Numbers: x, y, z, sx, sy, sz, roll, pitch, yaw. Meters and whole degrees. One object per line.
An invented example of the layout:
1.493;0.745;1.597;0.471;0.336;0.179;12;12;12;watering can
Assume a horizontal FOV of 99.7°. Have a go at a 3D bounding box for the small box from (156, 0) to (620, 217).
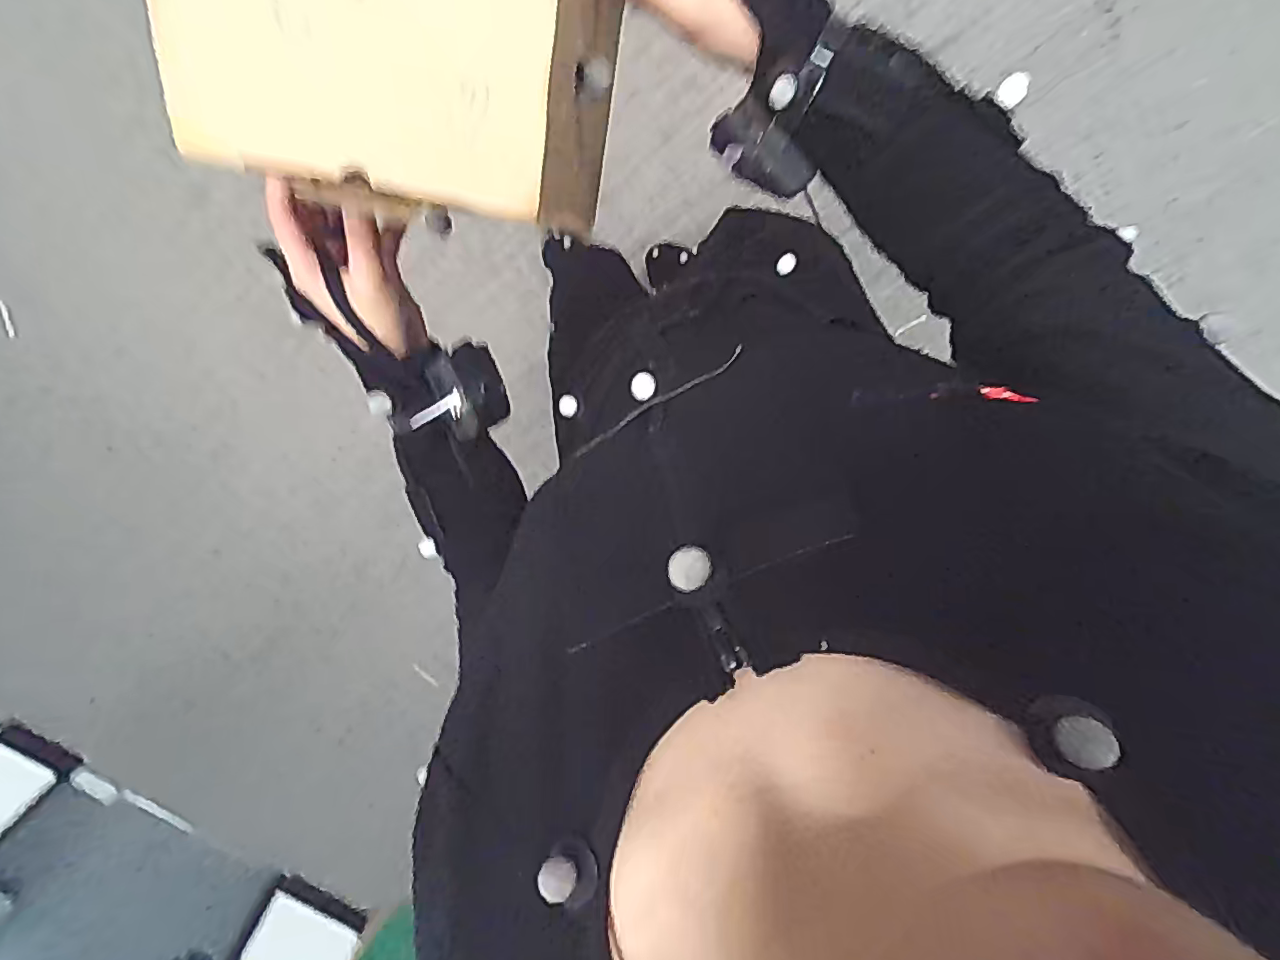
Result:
-0.105;-0.246;0.281;0.168;0.176;0.179;12;114;-1;small box
